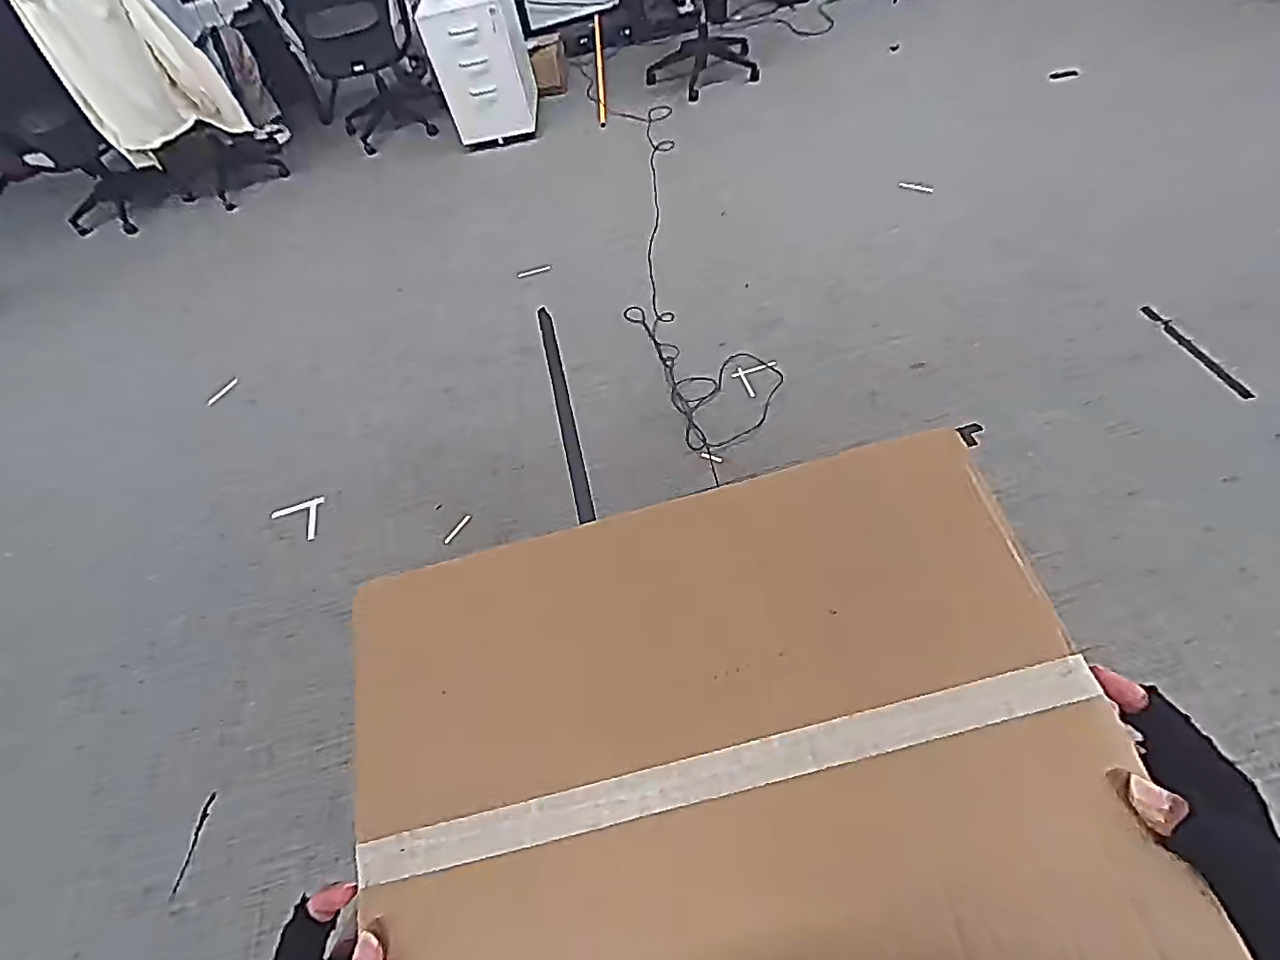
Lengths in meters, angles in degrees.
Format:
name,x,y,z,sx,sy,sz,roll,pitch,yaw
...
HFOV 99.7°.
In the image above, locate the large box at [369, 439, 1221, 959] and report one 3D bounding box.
name,x,y,z,sx,sy,sz,roll,pitch,yaw
large box,0.064,0.216,0.437,0.408,0.320,0.320,-16,65,2
